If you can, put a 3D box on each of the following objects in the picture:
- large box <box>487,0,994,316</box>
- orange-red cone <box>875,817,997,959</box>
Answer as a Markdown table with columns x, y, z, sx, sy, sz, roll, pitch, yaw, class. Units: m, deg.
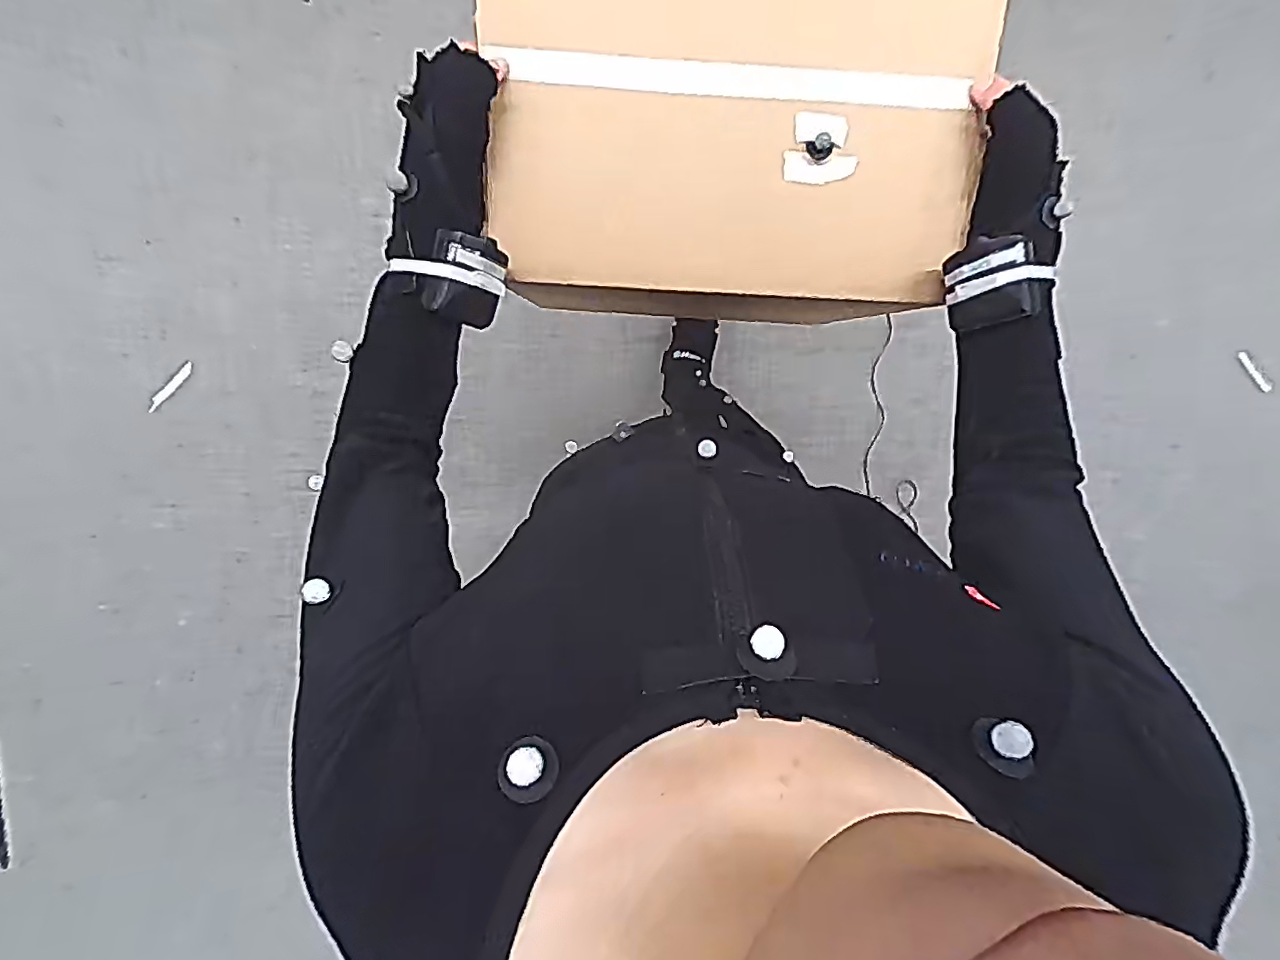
| x | y | z | sx | sy | sz | roll | pitch | yaw | class |
| --- | --- | --- | --- | --- | --- | --- | --- | --- | --- |
| 0.070 | -0.352 | 0.577 | 0.408 | 0.320 | 0.320 | 2 | 103 | -3 | large box |
| 0.779 | 1.077 | 1.382 | 0.198 | 0.360 | 0.199 | -3 | 93 | -2 | orange-red cone |
